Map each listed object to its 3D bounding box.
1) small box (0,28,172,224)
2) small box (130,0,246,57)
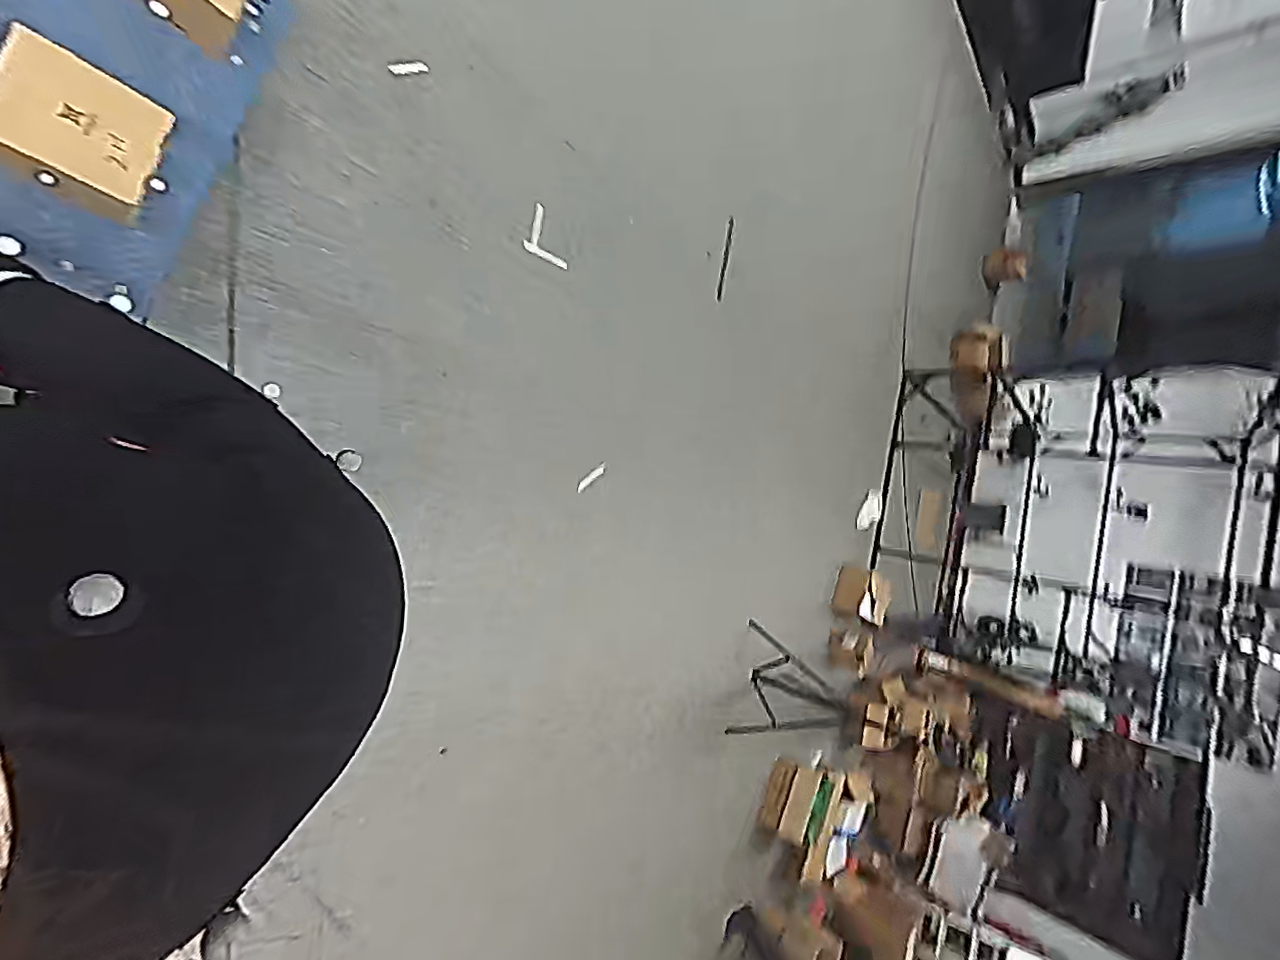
[{"bbox_3d":[-0.882,-0.532,0.848,0.179,0.176,0.168,22,80,-46],"label":"small box"},{"bbox_3d":[-0.767,-0.881,0.912,0.168,0.176,0.179,27,78,-45],"label":"small box"}]
